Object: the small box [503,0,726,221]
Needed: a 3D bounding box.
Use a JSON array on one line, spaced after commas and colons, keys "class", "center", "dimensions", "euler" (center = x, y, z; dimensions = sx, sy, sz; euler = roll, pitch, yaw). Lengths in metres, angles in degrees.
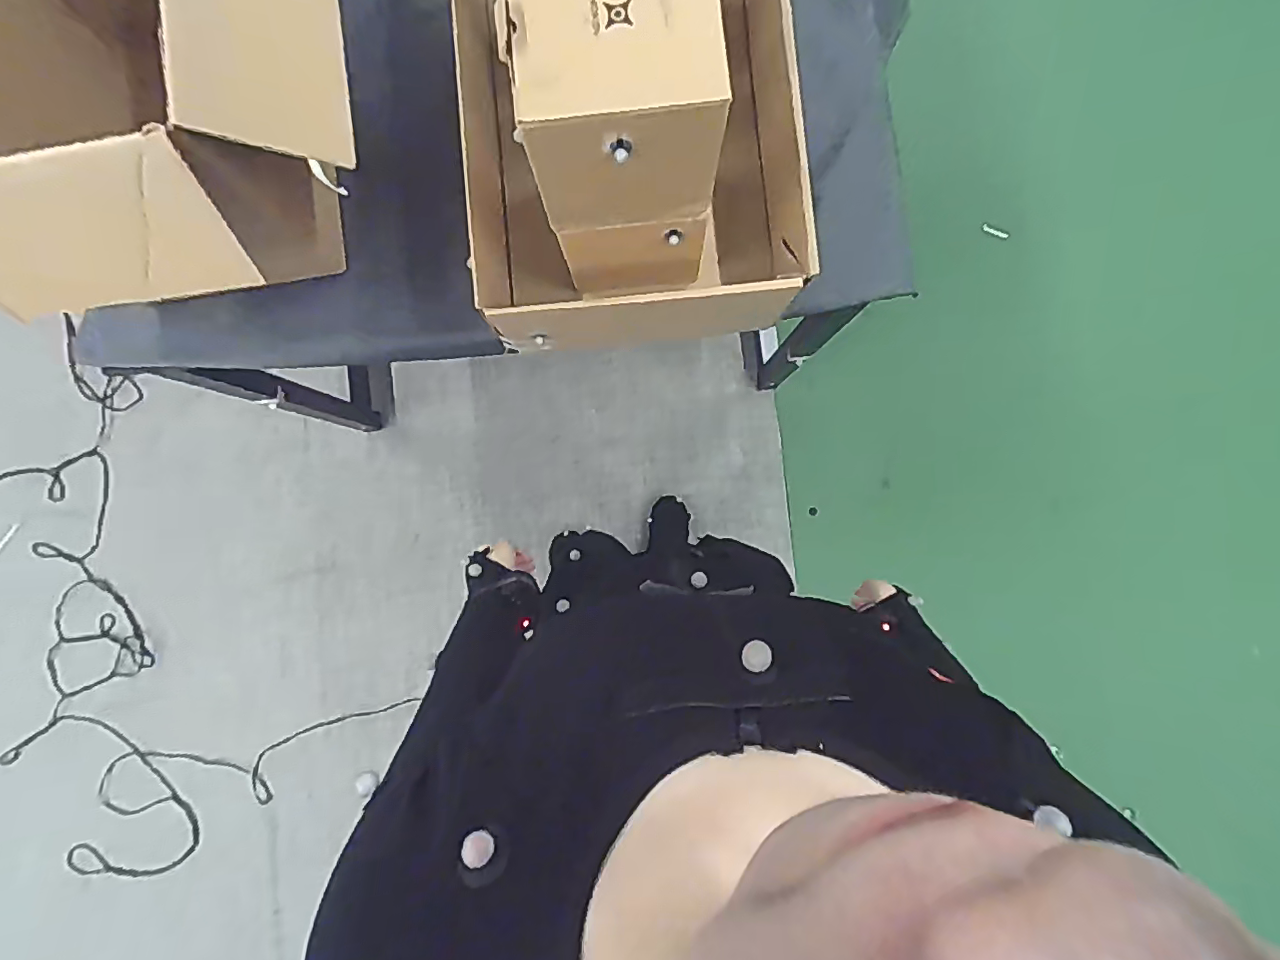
[{"class": "small box", "center": [-0.022, -0.373, 0.522], "dimensions": [0.179, 0.176, 0.168], "euler": [-6, 88, 0]}]
